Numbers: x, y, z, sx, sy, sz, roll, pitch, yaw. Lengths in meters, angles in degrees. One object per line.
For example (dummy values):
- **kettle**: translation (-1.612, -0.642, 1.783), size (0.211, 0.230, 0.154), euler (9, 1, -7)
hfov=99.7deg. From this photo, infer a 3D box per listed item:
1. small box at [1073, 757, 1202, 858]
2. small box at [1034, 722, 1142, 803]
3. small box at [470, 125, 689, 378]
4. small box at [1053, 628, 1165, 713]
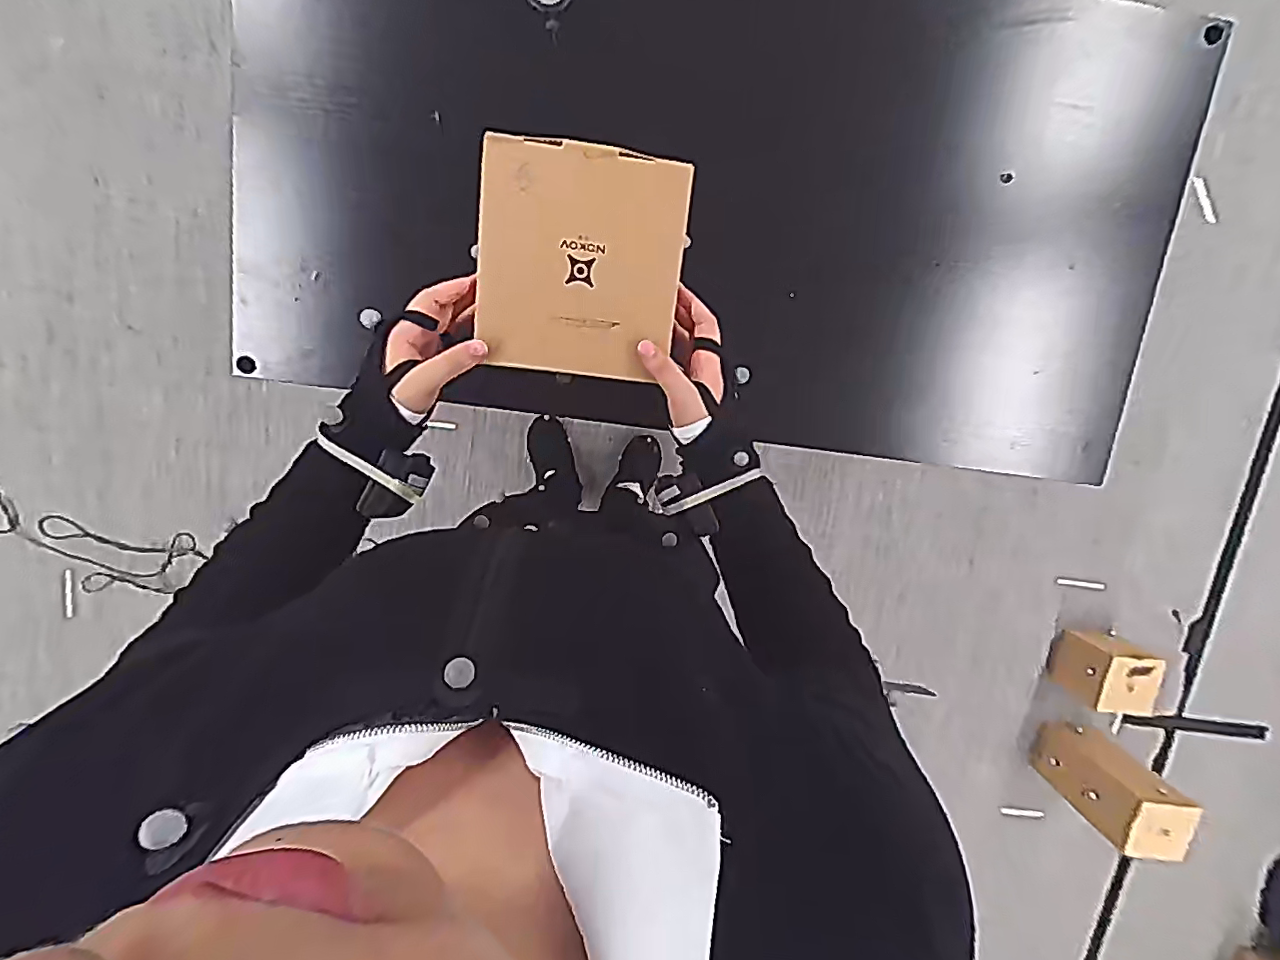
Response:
- **small box**: translation (1.365, 0.898, 1.495), size (0.179, 0.176, 0.168), euler (9, 100, -4)
- **small box**: translation (1.362, 0.871, 1.659), size (0.179, 0.176, 0.168), euler (7, 100, -4)
- **small box**: translation (-0.058, -0.200, 0.518), size (0.168, 0.176, 0.179), euler (6, 104, -6)
- **small box**: translation (1.372, 0.556, 1.595), size (0.168, 0.176, 0.179), euler (6, 101, -4)
